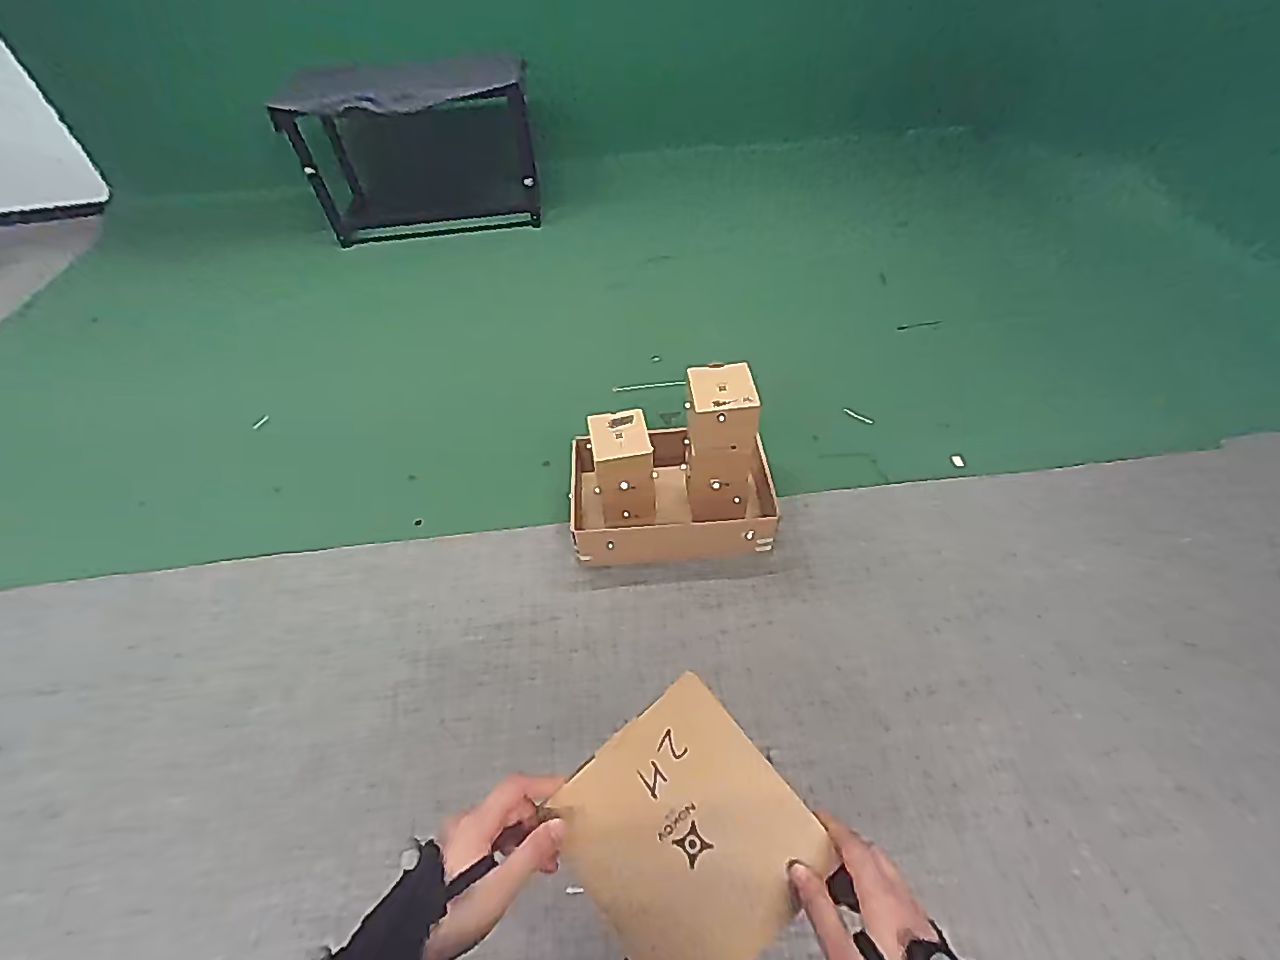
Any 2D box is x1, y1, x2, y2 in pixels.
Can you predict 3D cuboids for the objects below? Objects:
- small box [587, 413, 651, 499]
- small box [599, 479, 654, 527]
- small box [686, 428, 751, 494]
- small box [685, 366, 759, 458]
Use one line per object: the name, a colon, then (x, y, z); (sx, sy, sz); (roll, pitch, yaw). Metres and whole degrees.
small box: (-0.062, -0.070, 1.596); (0.168, 0.176, 0.179); (-9, 52, -5)
small box: (-0.050, 0.026, 1.731); (0.168, 0.176, 0.179); (-7, 51, -4)
small box: (0.223, -0.078, 1.586); (0.168, 0.176, 0.179); (-4, 51, 2)
small box: (0.213, -0.183, 1.460); (0.168, 0.176, 0.179); (-6, 49, 0)
